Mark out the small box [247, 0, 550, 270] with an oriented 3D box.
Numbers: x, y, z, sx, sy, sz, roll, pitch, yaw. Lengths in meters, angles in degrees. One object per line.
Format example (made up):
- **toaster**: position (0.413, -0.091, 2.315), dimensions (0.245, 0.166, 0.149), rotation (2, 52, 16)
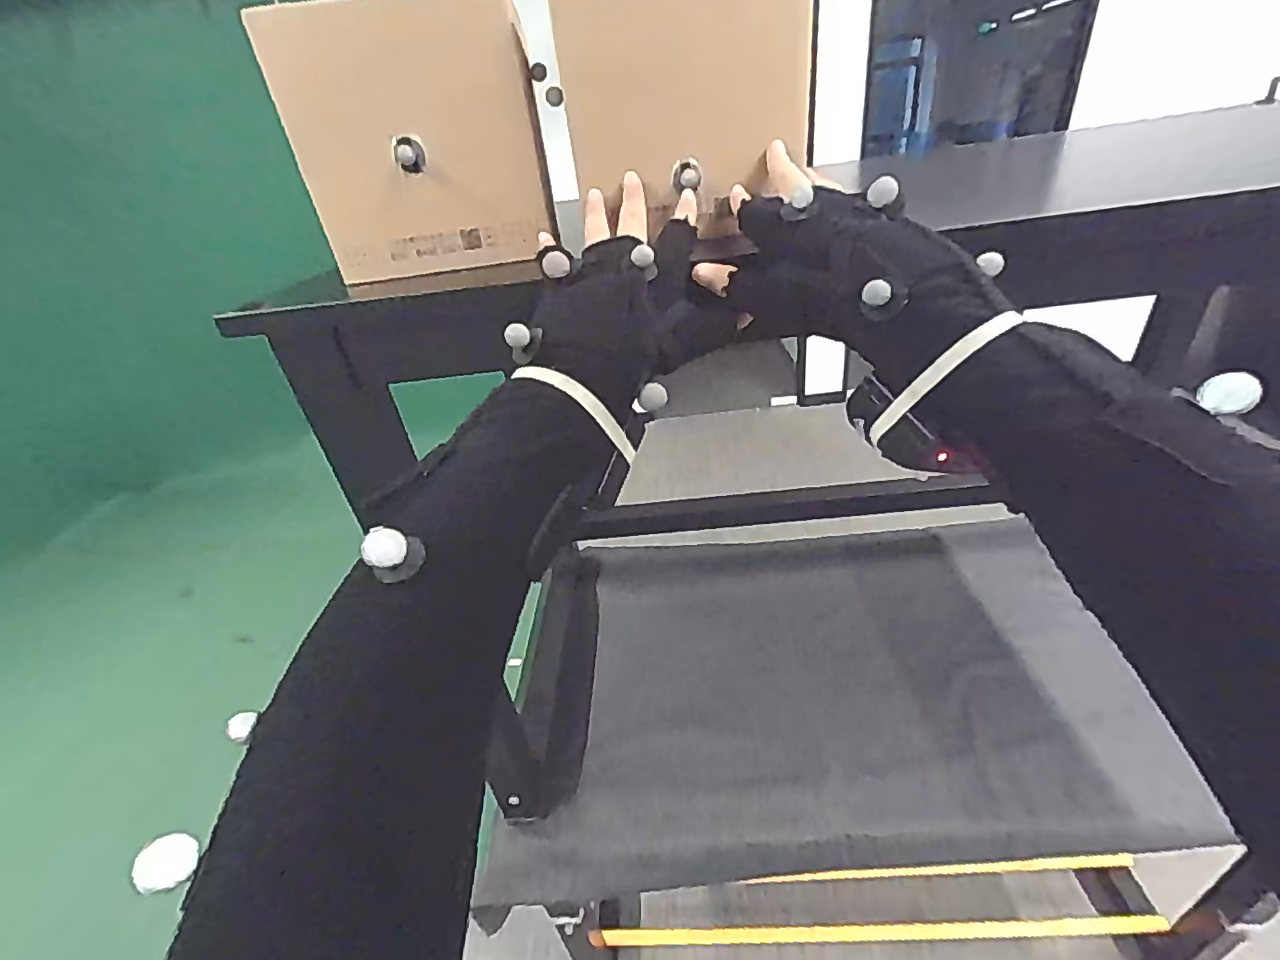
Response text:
- **small box**: position (-0.175, -0.285, 0.465), dimensions (0.168, 0.176, 0.179), rotation (-8, 31, -2)
